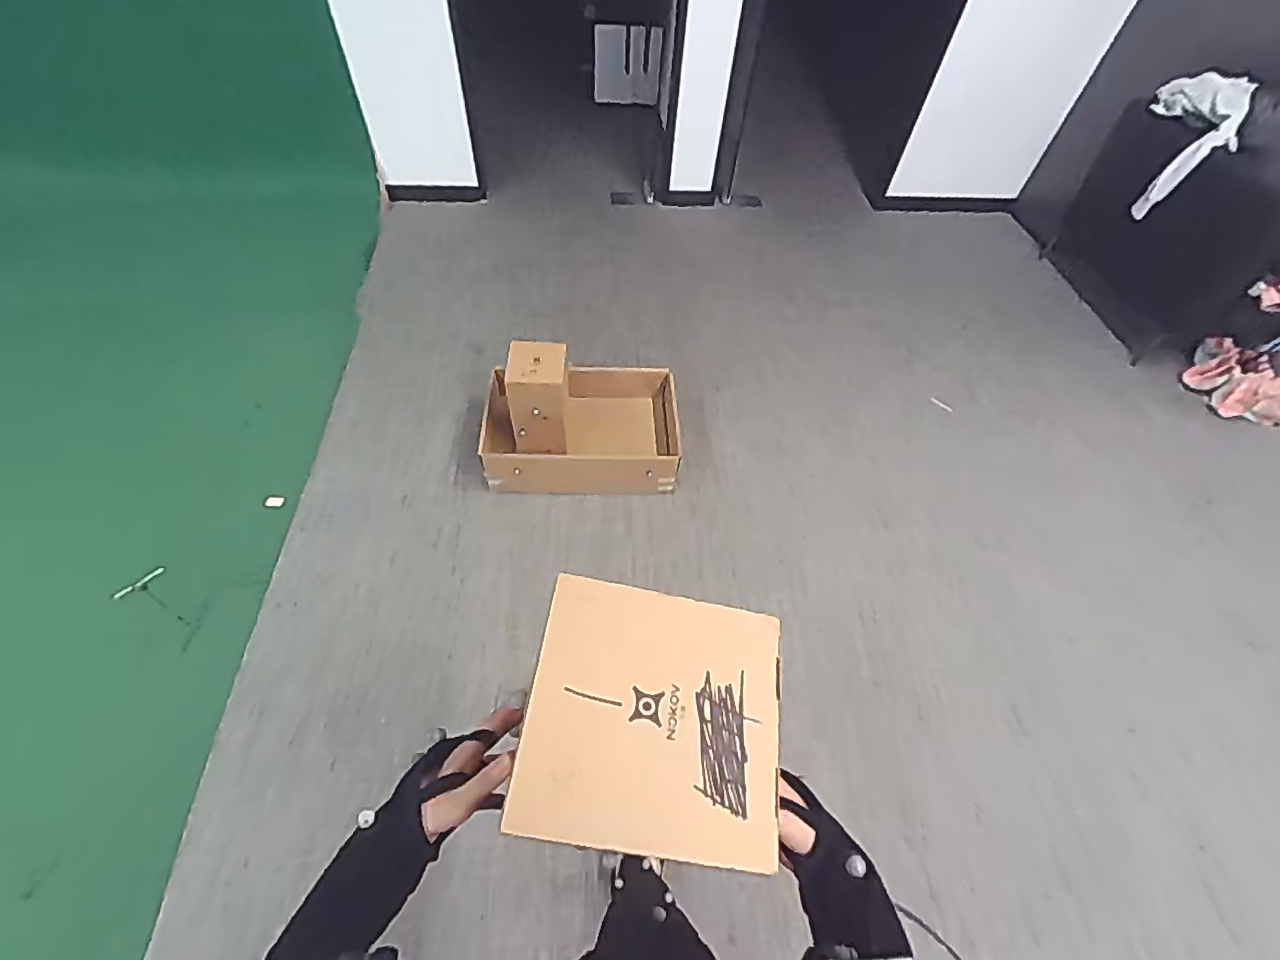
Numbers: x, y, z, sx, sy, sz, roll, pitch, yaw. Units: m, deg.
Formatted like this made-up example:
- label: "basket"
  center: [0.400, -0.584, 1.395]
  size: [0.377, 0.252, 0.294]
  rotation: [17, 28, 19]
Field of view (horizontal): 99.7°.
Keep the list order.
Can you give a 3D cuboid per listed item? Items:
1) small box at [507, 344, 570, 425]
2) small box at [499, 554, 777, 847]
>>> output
- label: "small box"
  center: [-0.302, -0.290, 1.647]
  size: [0.168, 0.176, 0.179]
  rotation: [2, 54, -3]
- label: "small box"
  center: [-0.005, 0.182, 0.443]
  size: [0.179, 0.176, 0.168]
  rotation: [13, 58, -5]
